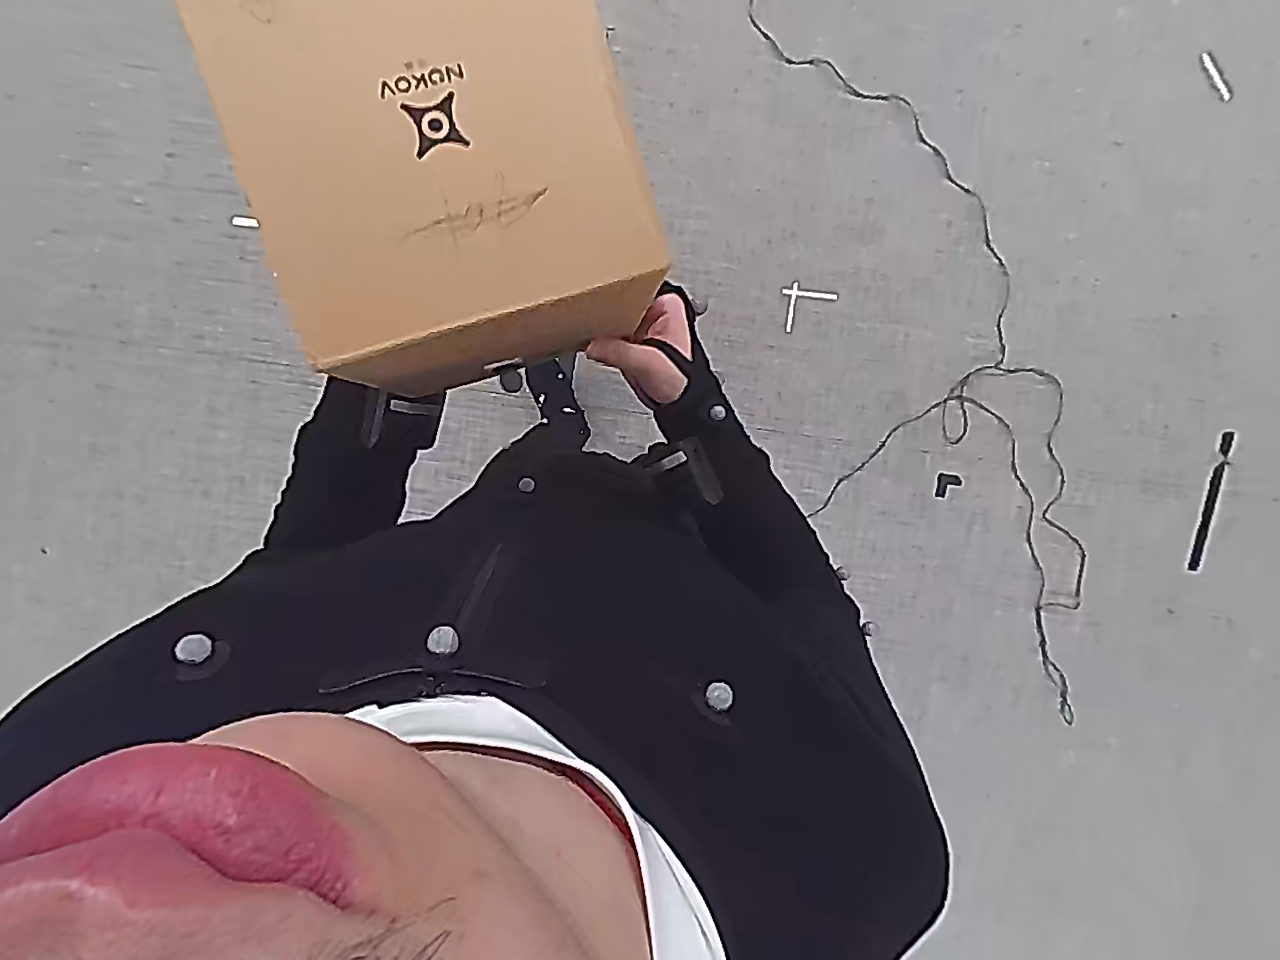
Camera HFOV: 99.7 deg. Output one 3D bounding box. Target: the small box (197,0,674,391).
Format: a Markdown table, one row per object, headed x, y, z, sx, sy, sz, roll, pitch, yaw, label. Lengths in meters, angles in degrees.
| x | y | z | sx | sy | sz | roll | pitch | yaw | label |
| --- | --- | --- | --- | --- | --- | --- | --- | --- | --- |
| -0.097 | -0.165 | 0.320 | 0.168 | 0.176 | 0.179 | -20 | 96 | -5 | small box |
